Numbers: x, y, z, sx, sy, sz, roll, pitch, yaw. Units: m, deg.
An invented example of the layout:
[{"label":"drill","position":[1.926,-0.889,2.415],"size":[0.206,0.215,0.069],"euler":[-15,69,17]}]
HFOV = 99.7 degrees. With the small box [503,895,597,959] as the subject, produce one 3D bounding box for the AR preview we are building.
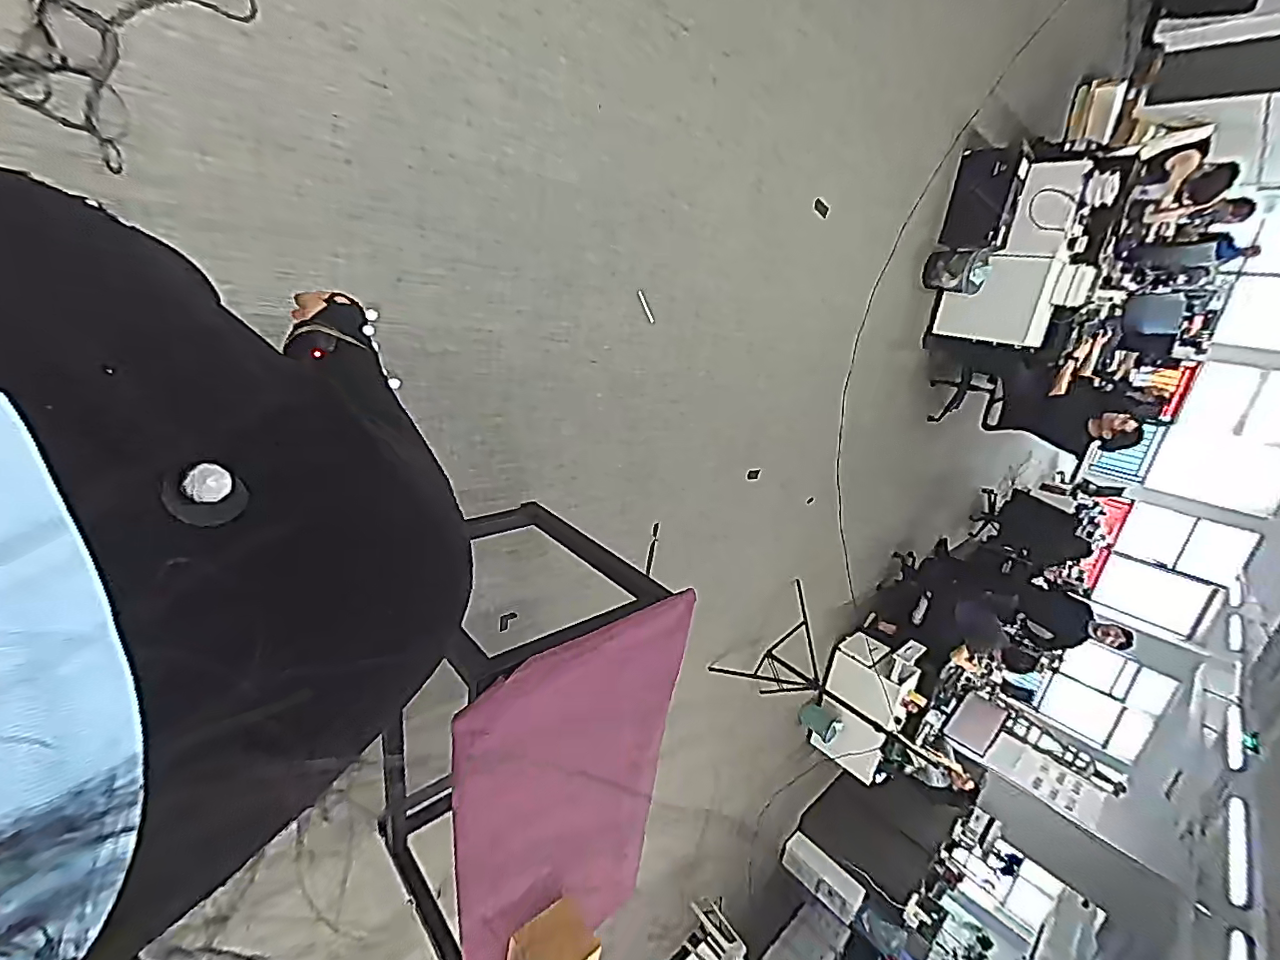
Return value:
[{"label":"small box","position":[-0.244,1.271,1.439],"size":[0.179,0.176,0.168],"euler":[-6,113,-45]}]
